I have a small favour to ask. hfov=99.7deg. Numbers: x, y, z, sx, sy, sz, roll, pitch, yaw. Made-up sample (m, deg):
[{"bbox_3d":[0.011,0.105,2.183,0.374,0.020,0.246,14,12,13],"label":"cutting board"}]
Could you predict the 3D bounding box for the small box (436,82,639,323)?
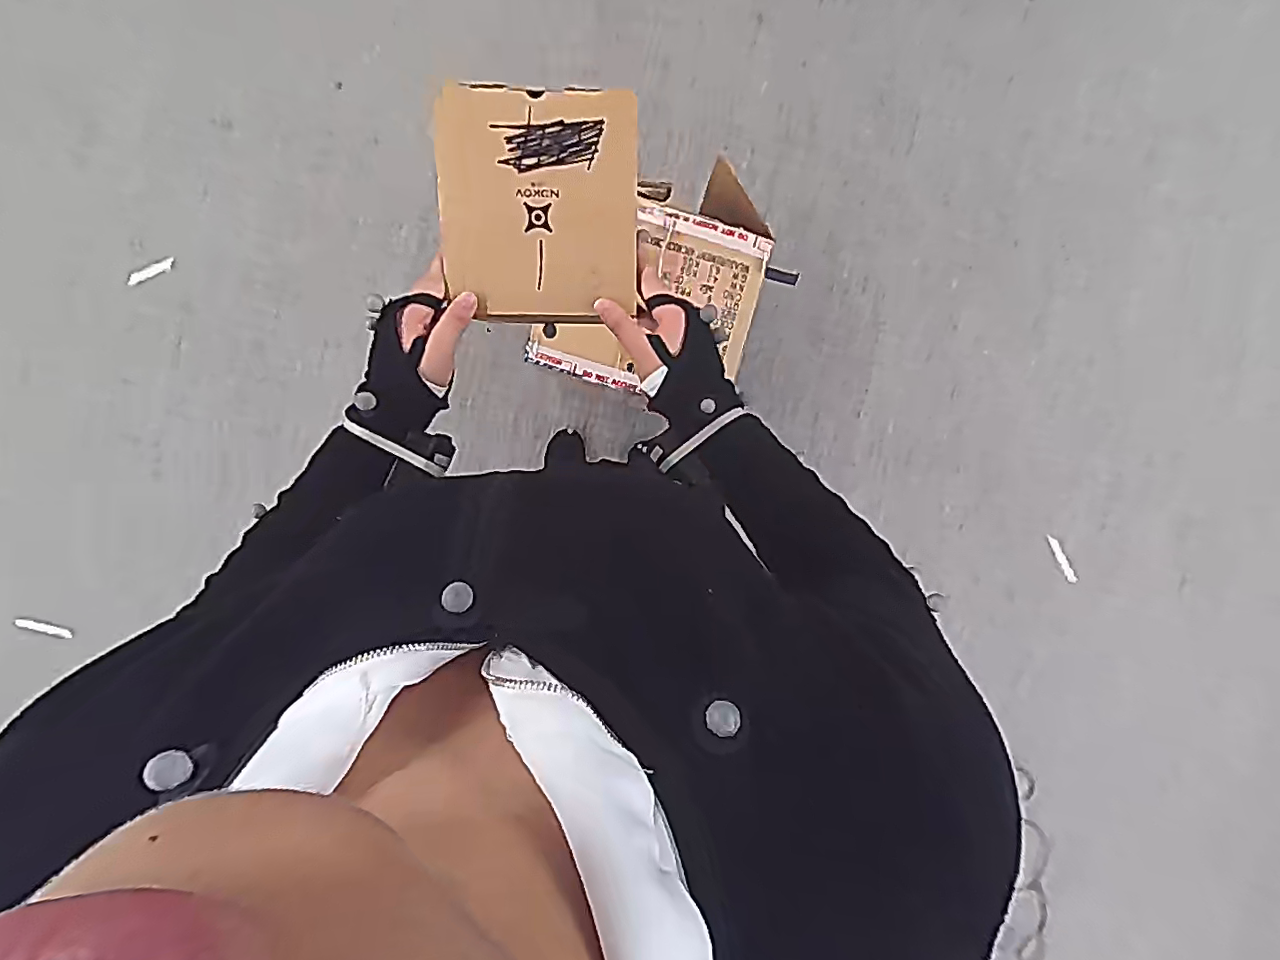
[{"bbox_3d":[-0.089,-0.250,0.531,0.168,0.176,0.179,-1,104,-3],"label":"small box"}]
